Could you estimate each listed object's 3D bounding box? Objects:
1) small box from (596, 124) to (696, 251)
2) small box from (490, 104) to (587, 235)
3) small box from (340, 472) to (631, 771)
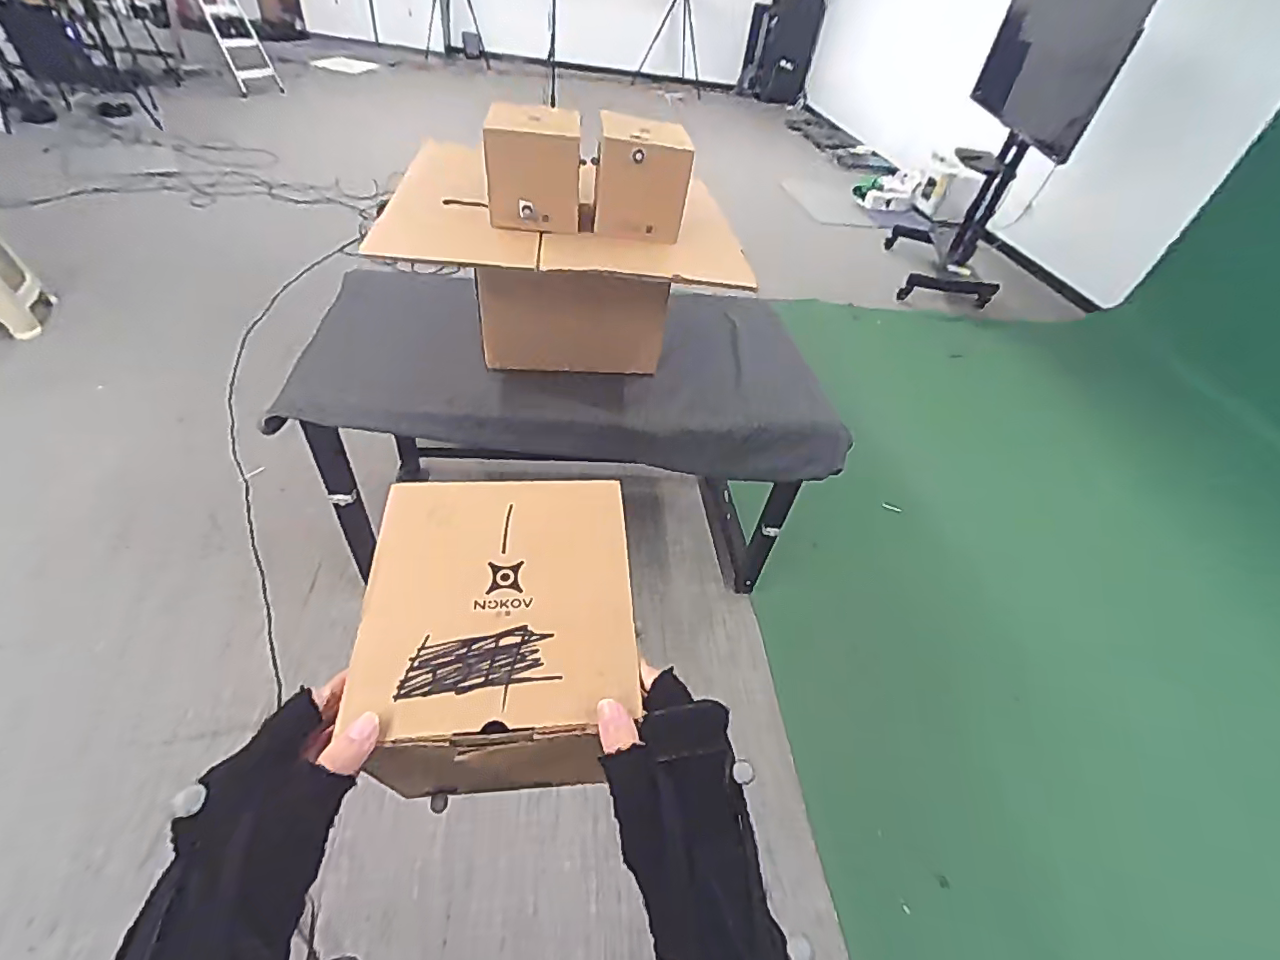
[{"bbox_3d":[0.003,-0.578,1.072,0.168,0.176,0.179,3,44,-9],"label":"small box"},{"bbox_3d":[-0.189,-0.591,1.033,0.168,0.176,0.179,0,47,-8],"label":"small box"},{"bbox_3d":[-0.097,0.113,0.417,0.168,0.176,0.179,0,50,-7],"label":"small box"}]
